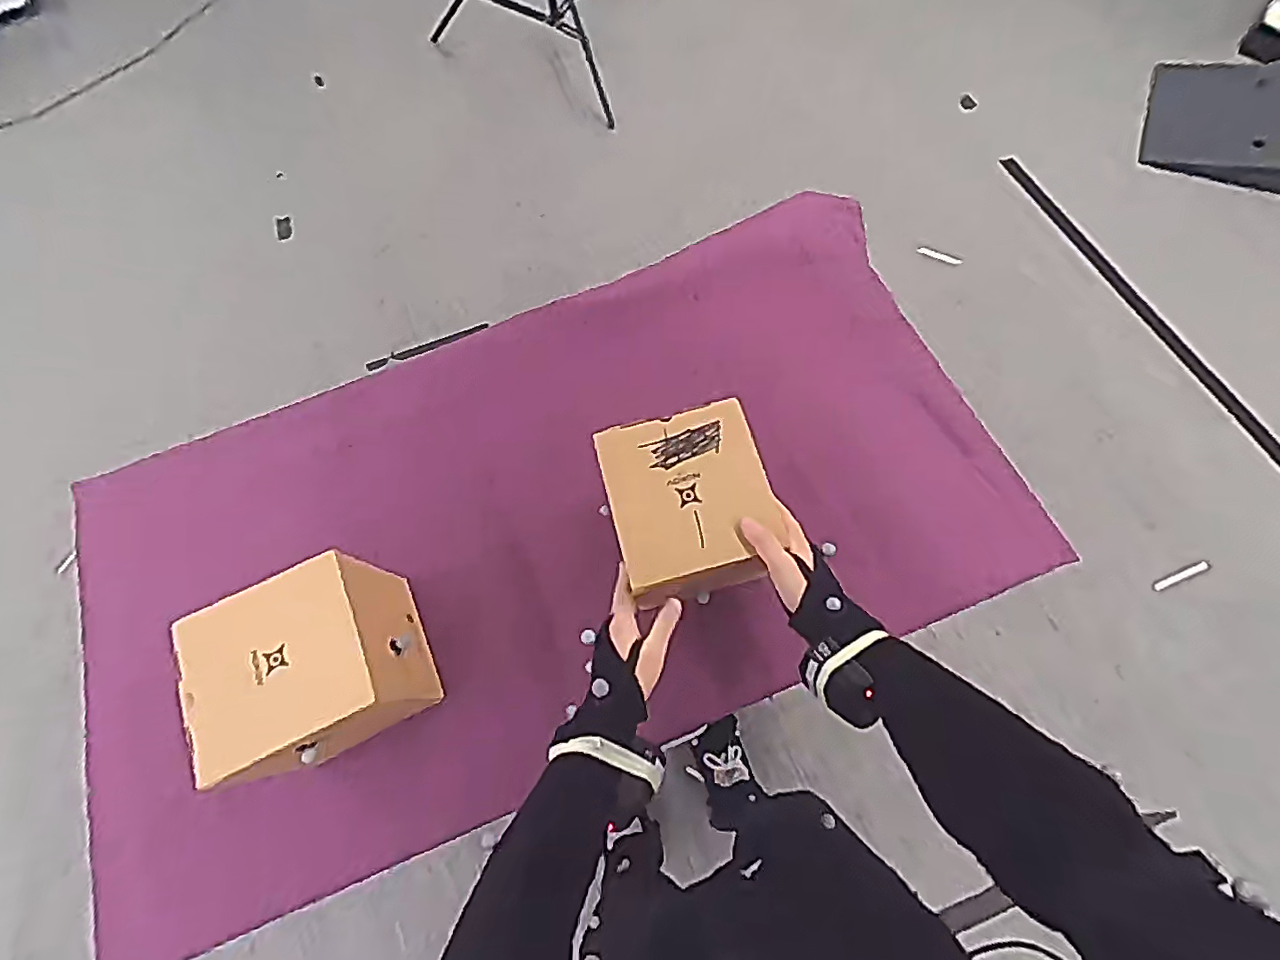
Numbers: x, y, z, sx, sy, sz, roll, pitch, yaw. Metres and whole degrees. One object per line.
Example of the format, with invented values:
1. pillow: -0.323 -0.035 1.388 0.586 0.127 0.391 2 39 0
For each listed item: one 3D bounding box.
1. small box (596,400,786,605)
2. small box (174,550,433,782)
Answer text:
1. small box: 0.051 0.035 0.636 0.168 0.176 0.179 -14 71 -2
2. small box: -0.355 0.201 0.605 0.179 0.176 0.168 -26 71 -5
